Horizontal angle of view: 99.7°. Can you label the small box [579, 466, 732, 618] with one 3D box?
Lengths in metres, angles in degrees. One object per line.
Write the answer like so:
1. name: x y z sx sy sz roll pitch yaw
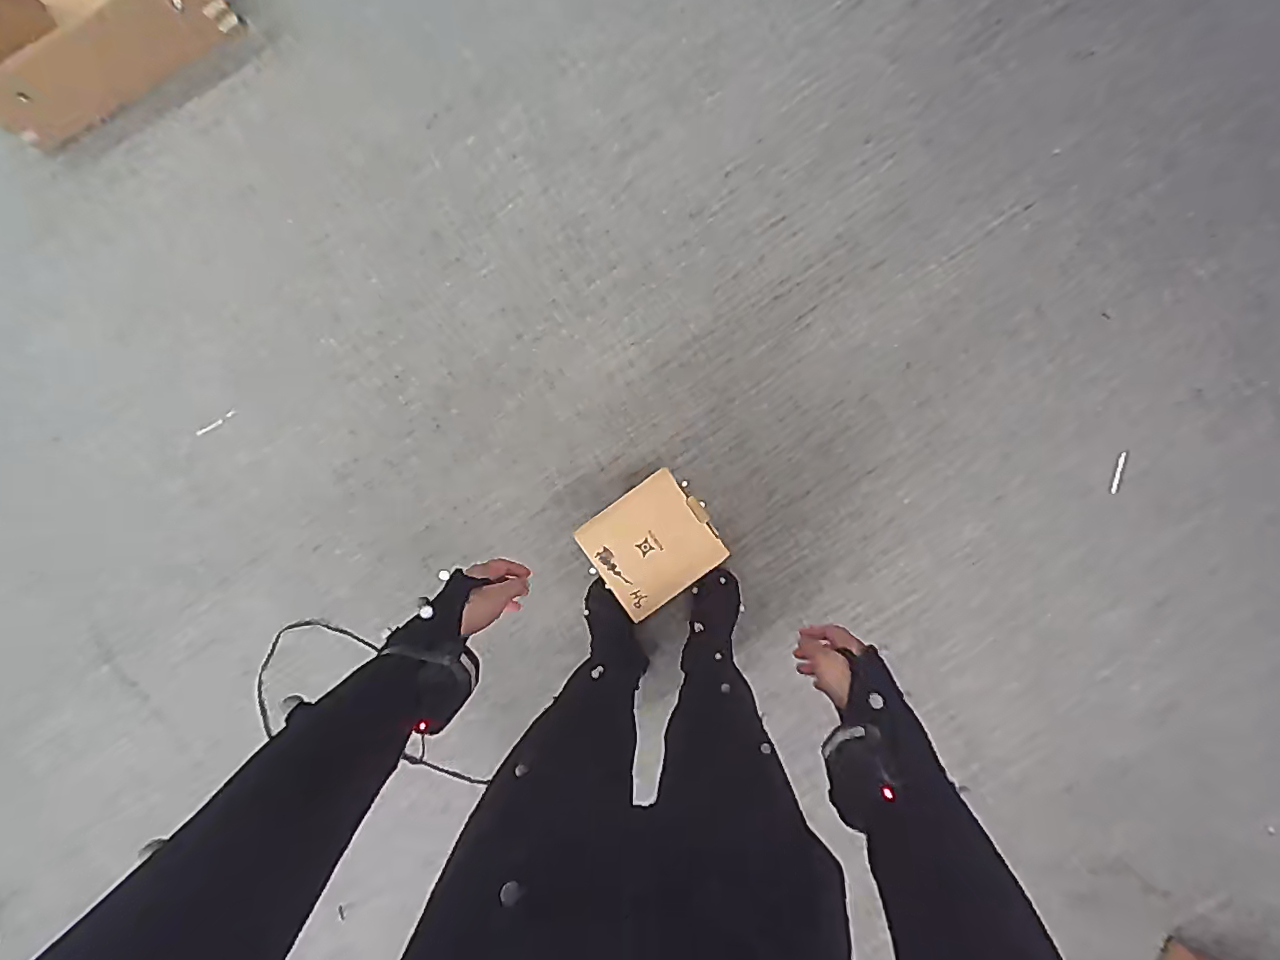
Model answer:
1. small box: 0.023 0.093 0.881 0.179 0.176 0.168 -35 87 0
